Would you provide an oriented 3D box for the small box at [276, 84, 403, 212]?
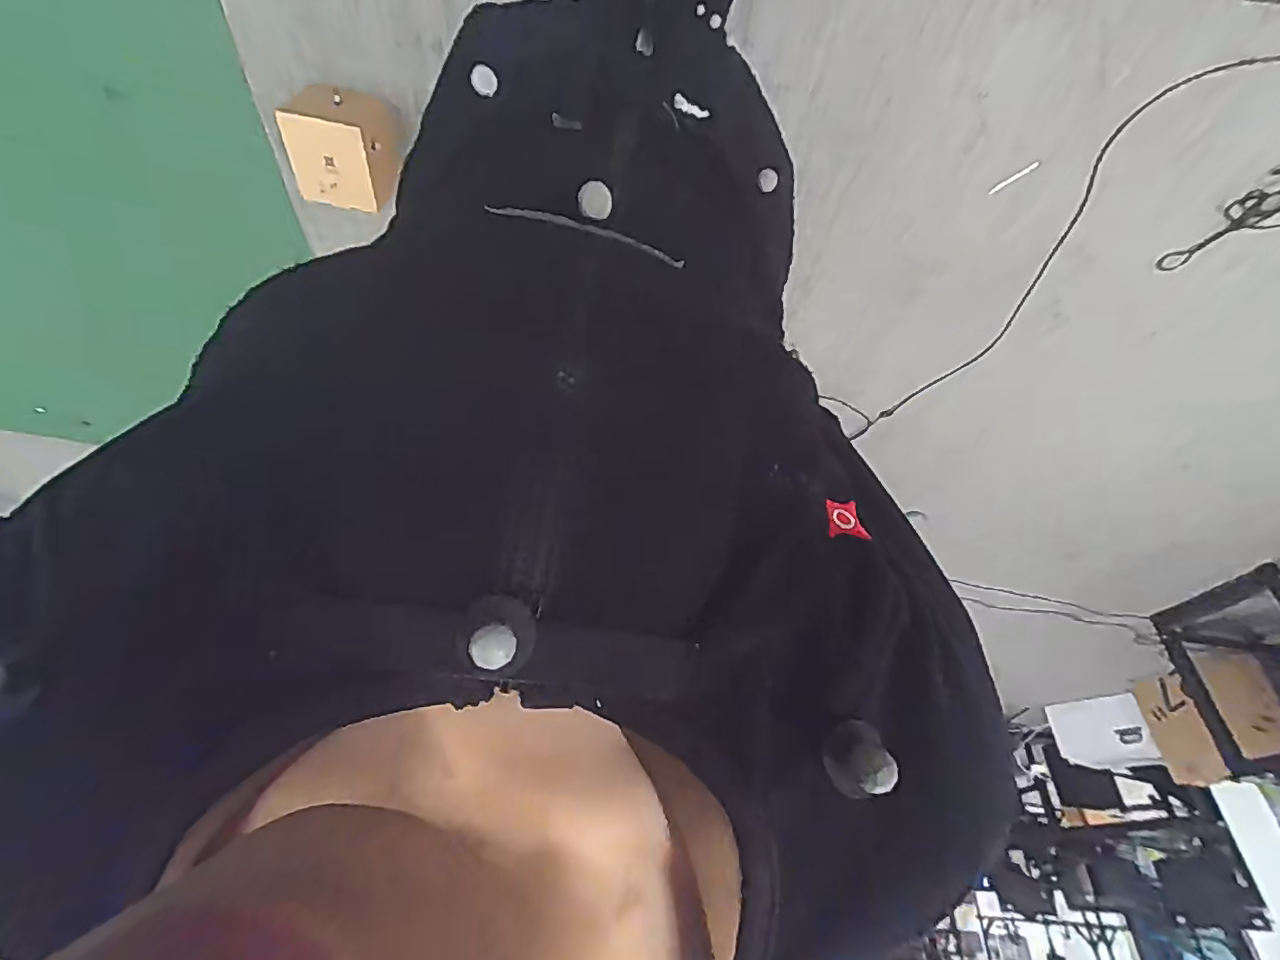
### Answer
[{"bbox_3d":[-0.631,-0.716,1.162,0.168,0.176,0.179,10,142,-4],"label":"small box"}]
